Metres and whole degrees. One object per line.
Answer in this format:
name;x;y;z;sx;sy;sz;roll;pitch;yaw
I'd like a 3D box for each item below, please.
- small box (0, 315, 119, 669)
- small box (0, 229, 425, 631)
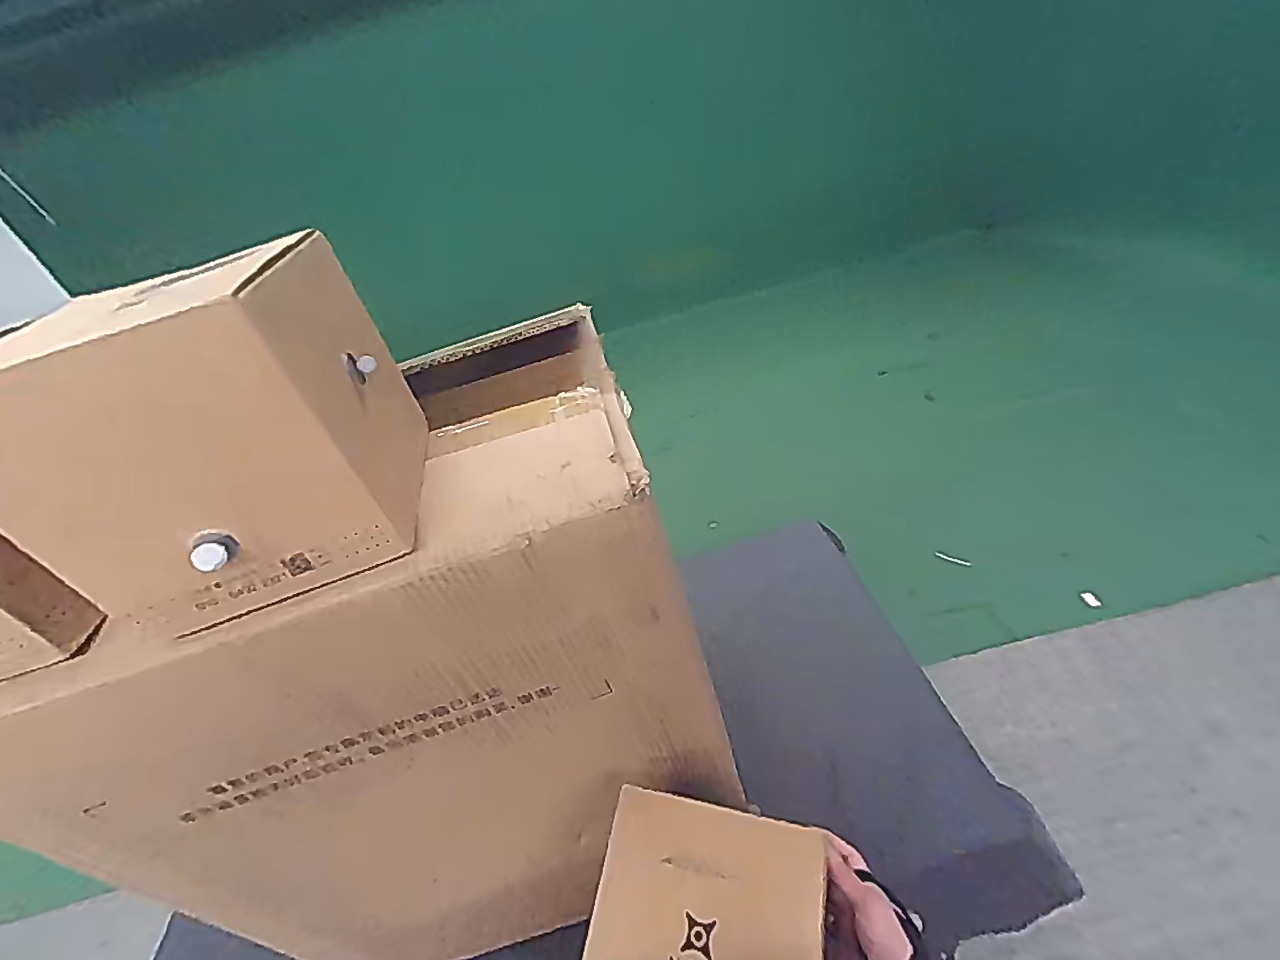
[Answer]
small box;-0.463;0.021;0.357;0.168;0.176;0.179;-17;37;1
small box;-0.256;-0.038;0.350;0.168;0.176;0.179;-20;38;-4
